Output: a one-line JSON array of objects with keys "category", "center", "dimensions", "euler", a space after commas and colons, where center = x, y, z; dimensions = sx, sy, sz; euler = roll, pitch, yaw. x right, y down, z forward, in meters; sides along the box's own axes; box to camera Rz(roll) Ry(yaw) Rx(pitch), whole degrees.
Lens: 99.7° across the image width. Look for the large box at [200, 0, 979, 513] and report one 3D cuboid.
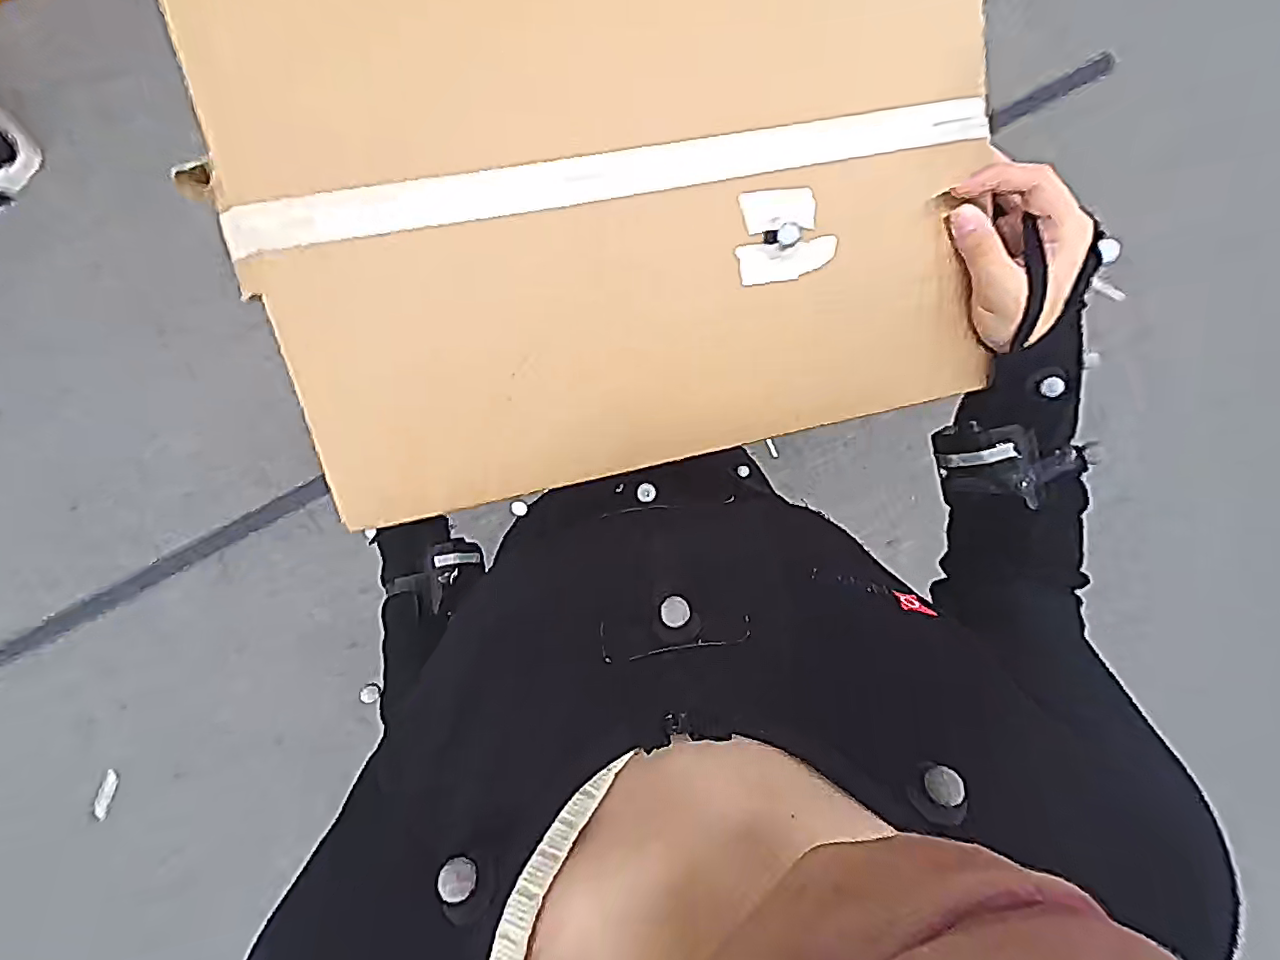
[{"category": "large box", "center": [-0.023, -0.198, 0.438], "dimensions": [0.408, 0.320, 0.320], "euler": [-13, 105, -10]}]
